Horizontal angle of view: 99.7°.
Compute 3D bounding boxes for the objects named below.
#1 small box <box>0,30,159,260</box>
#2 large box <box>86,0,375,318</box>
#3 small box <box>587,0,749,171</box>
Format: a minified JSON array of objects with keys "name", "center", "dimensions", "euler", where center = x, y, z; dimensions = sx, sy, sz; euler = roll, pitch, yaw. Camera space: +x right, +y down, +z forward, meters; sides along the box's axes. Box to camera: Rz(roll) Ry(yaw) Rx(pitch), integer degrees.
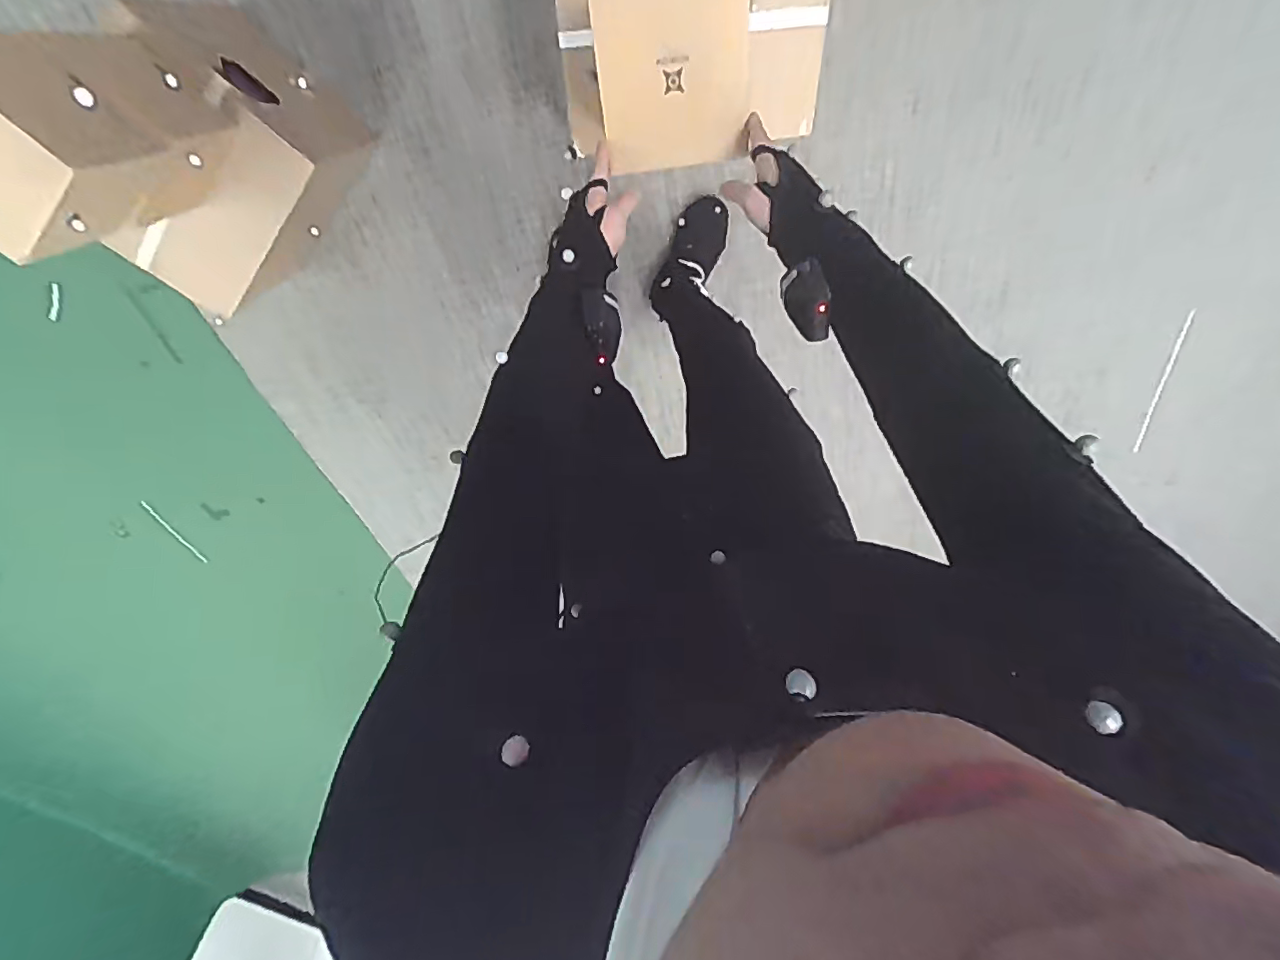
[{"name":"small box","center":[-0.772,-0.419,0.680],"dimensions":[0.179,0.176,0.168],"euler":[-32,123,22]},{"name":"large box","center":[-0.795,-0.613,1.050],"dimensions":[0.408,0.320,0.320],"euler":[-37,120,27]},{"name":"small box","center":[0.035,-0.490,0.642],"dimensions":[0.168,0.176,0.179],"euler":[-6,128,4]}]
